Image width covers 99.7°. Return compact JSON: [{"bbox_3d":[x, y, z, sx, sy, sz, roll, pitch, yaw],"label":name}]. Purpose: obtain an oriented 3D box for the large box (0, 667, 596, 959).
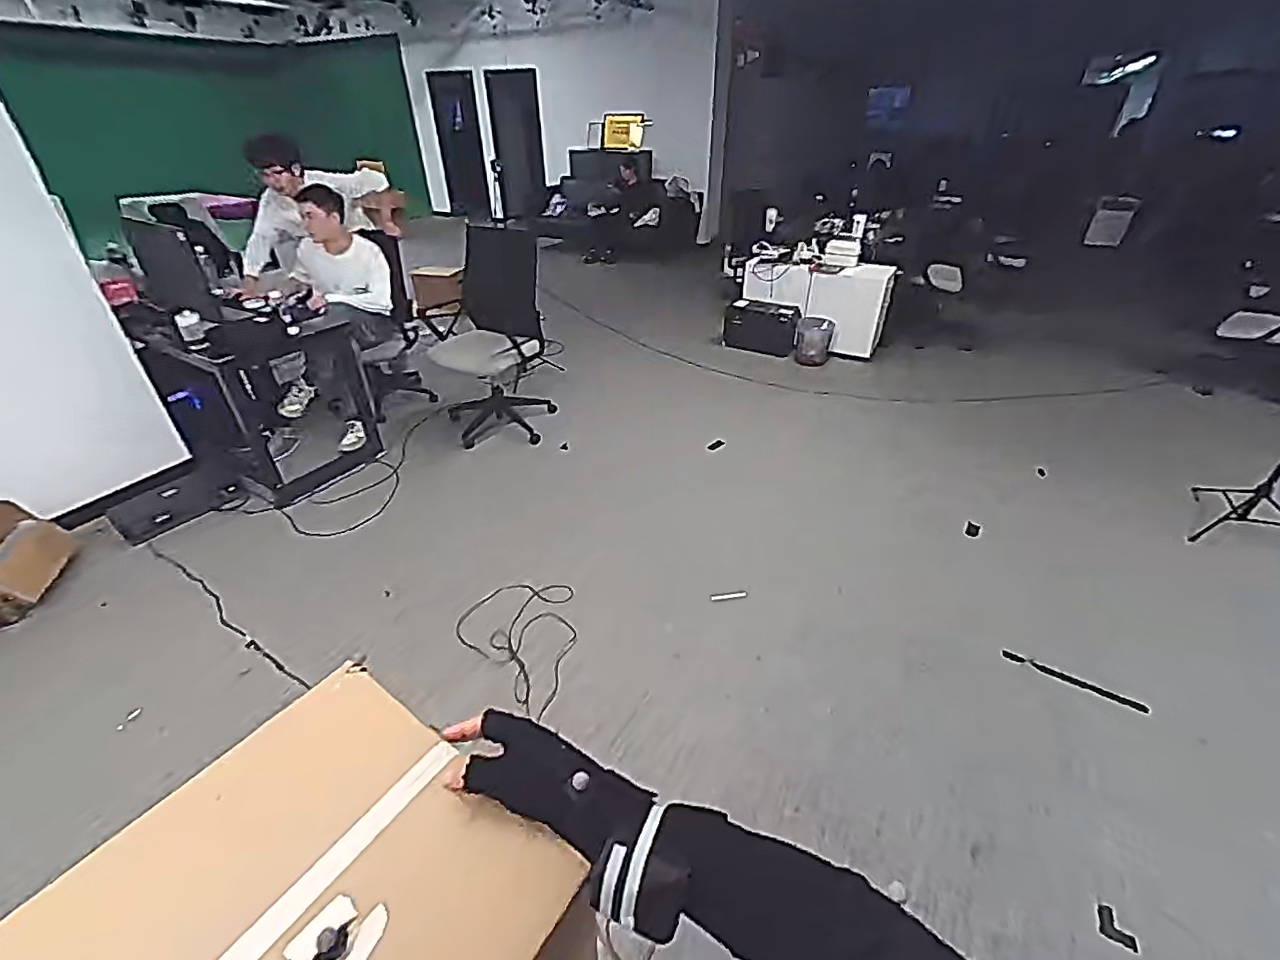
[{"bbox_3d":[-0.277,0.459,0.447,0.320,0.320,0.408,23,40,26],"label":"large box"}]
